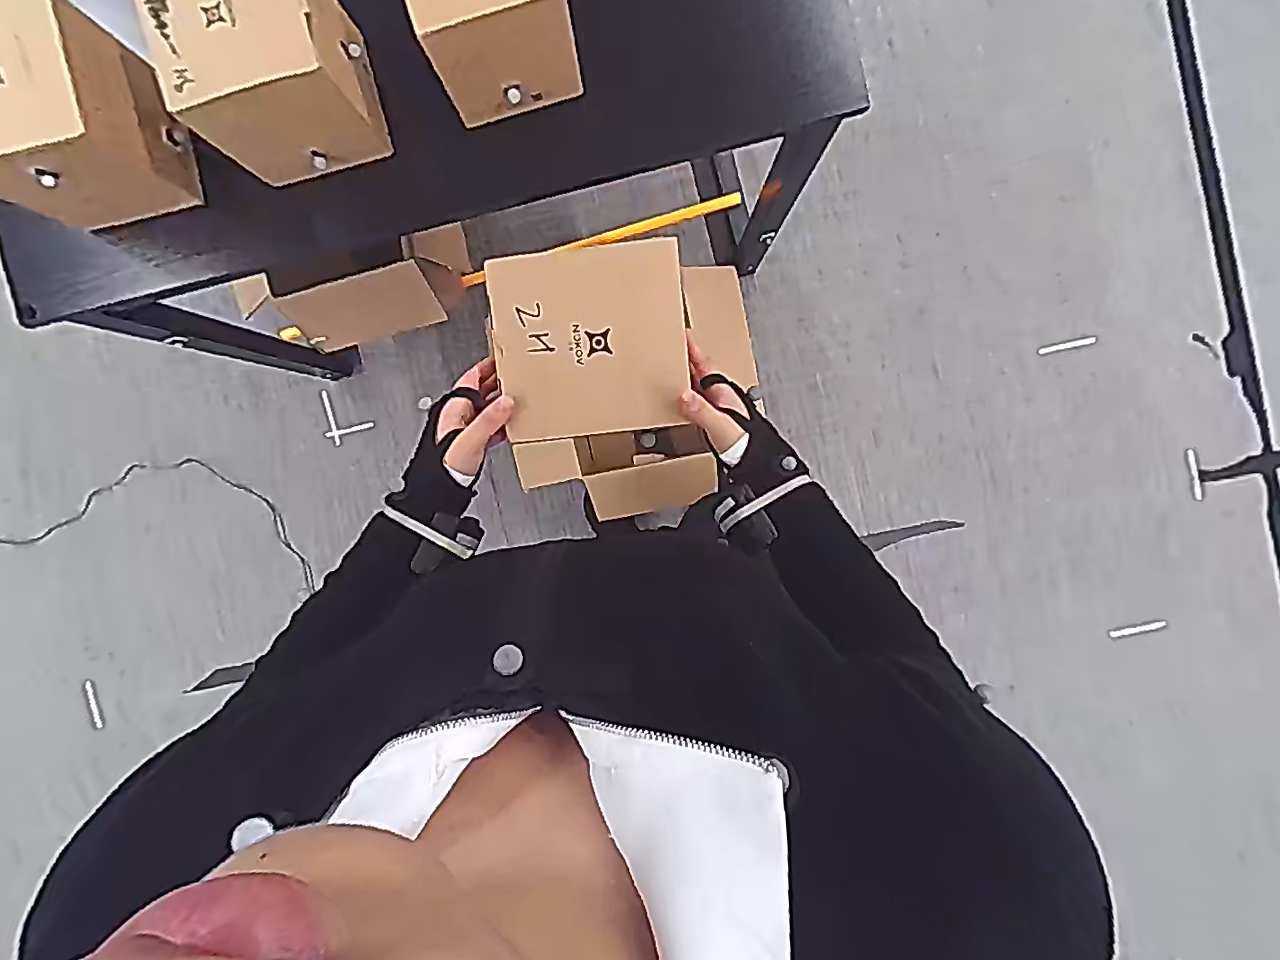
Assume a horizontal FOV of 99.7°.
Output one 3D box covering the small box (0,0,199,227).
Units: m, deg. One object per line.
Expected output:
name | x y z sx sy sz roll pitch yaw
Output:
small box | -0.694 -0.429 0.650 0.179 0.176 0.168 -12 93 0

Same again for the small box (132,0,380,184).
small box | -0.438 -0.491 0.645 0.179 0.176 0.168 -15 92 0

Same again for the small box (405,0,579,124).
small box | -0.178 -0.572 0.637 0.168 0.176 0.179 -15 93 2

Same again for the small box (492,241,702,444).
small box | -0.036 -0.129 0.559 0.179 0.176 0.168 -6 95 3
